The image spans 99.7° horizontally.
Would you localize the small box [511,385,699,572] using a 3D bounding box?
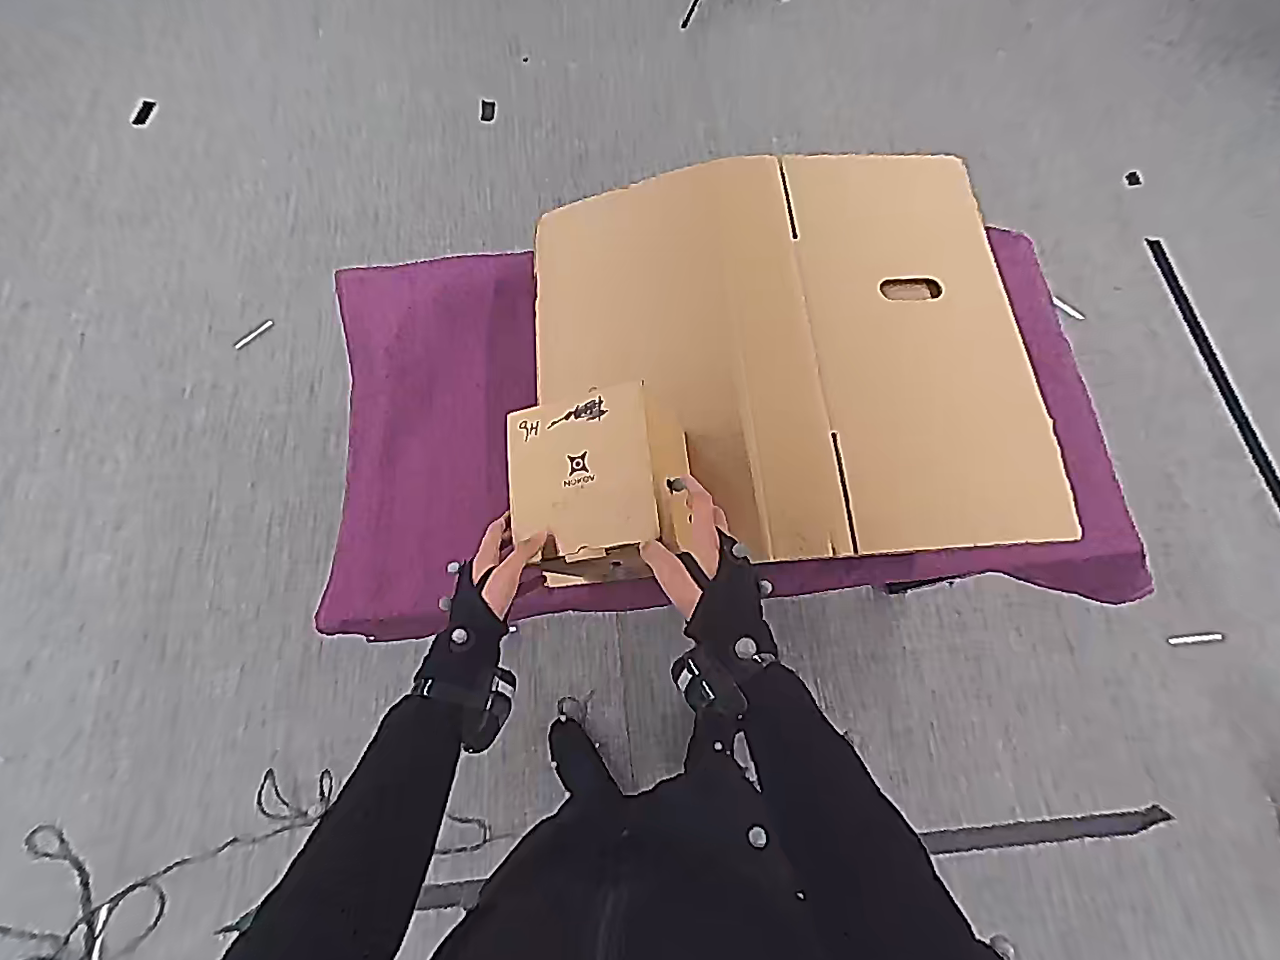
[{"bbox_3d":[-0.035,0.013,0.643,0.168,0.176,0.179,-11,73,17],"label":"small box"}]
